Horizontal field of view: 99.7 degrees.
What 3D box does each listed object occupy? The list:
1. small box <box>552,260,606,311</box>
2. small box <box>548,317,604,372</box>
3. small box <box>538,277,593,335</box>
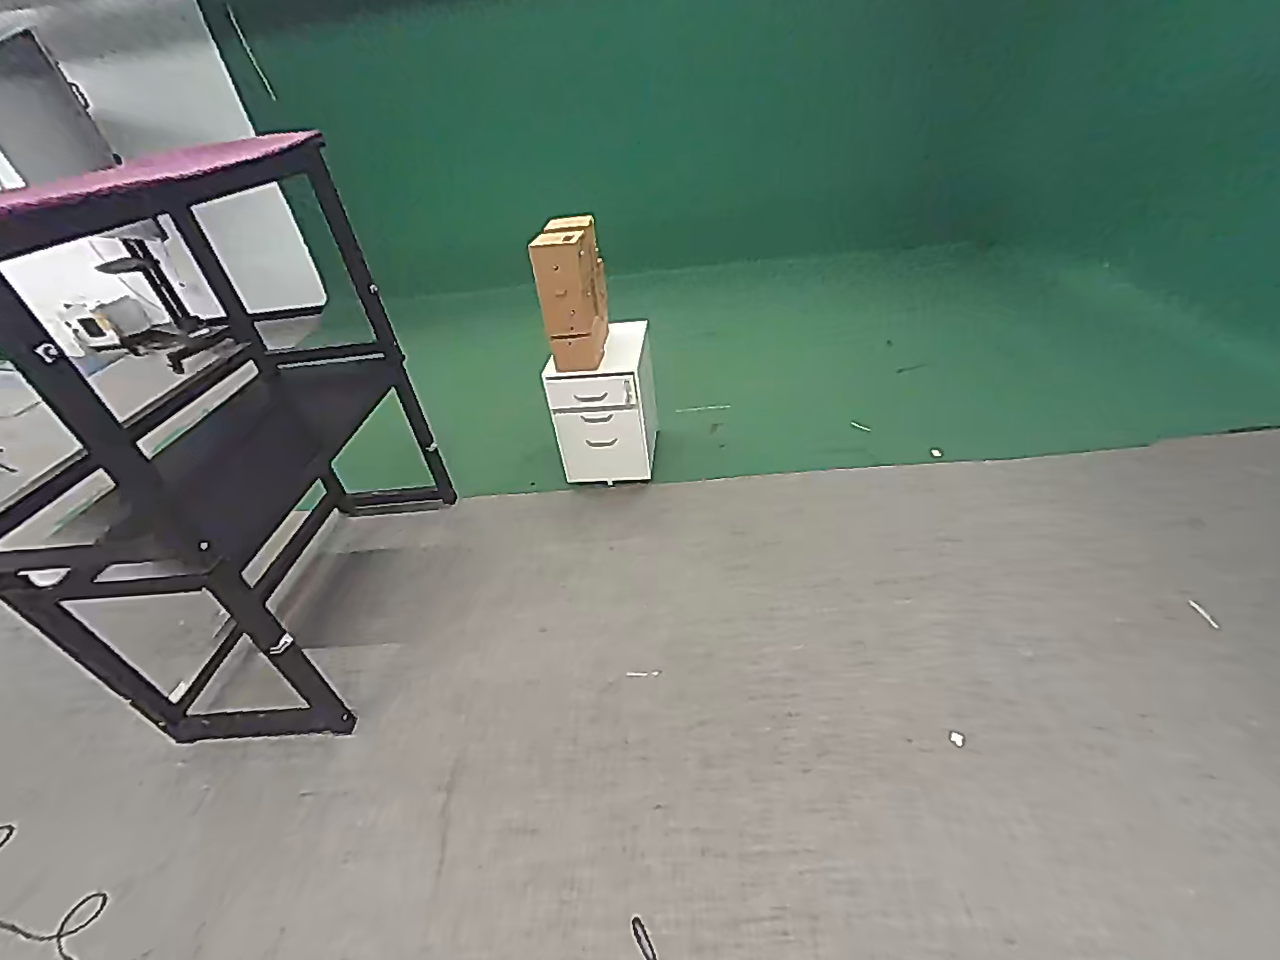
[{"bbox_3d":[-0.254,-0.817,2.281,0.179,0.176,0.168,1,37,10],"label":"small box"},{"bbox_3d":[-0.255,-0.548,2.191,0.179,0.176,0.168,0,37,10],"label":"small box"},{"bbox_3d":[-0.280,-0.666,2.082,0.168,0.176,0.179,-1,36,7],"label":"small box"}]
